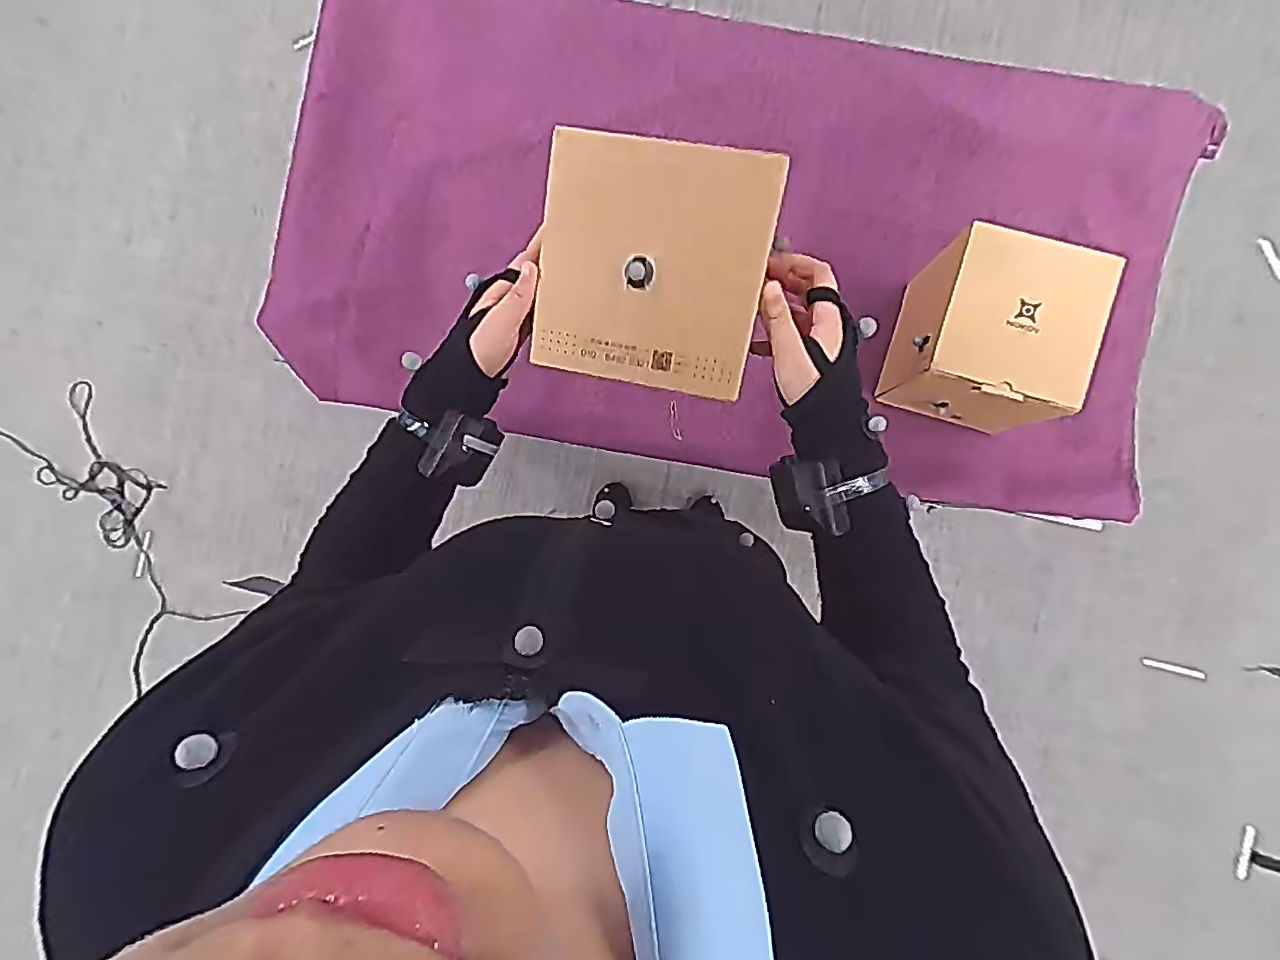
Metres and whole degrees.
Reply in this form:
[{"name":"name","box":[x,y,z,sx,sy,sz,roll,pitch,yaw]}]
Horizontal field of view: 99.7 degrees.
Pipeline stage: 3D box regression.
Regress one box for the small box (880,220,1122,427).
[{"name":"small box","box":[0.422,-0.177,0.664,0.168,0.176,0.179,17,89,4]}]

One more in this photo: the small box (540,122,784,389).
[{"name":"small box","box":[0.022,-0.176,0.466,0.168,0.179,0.176,12,106,9]}]
